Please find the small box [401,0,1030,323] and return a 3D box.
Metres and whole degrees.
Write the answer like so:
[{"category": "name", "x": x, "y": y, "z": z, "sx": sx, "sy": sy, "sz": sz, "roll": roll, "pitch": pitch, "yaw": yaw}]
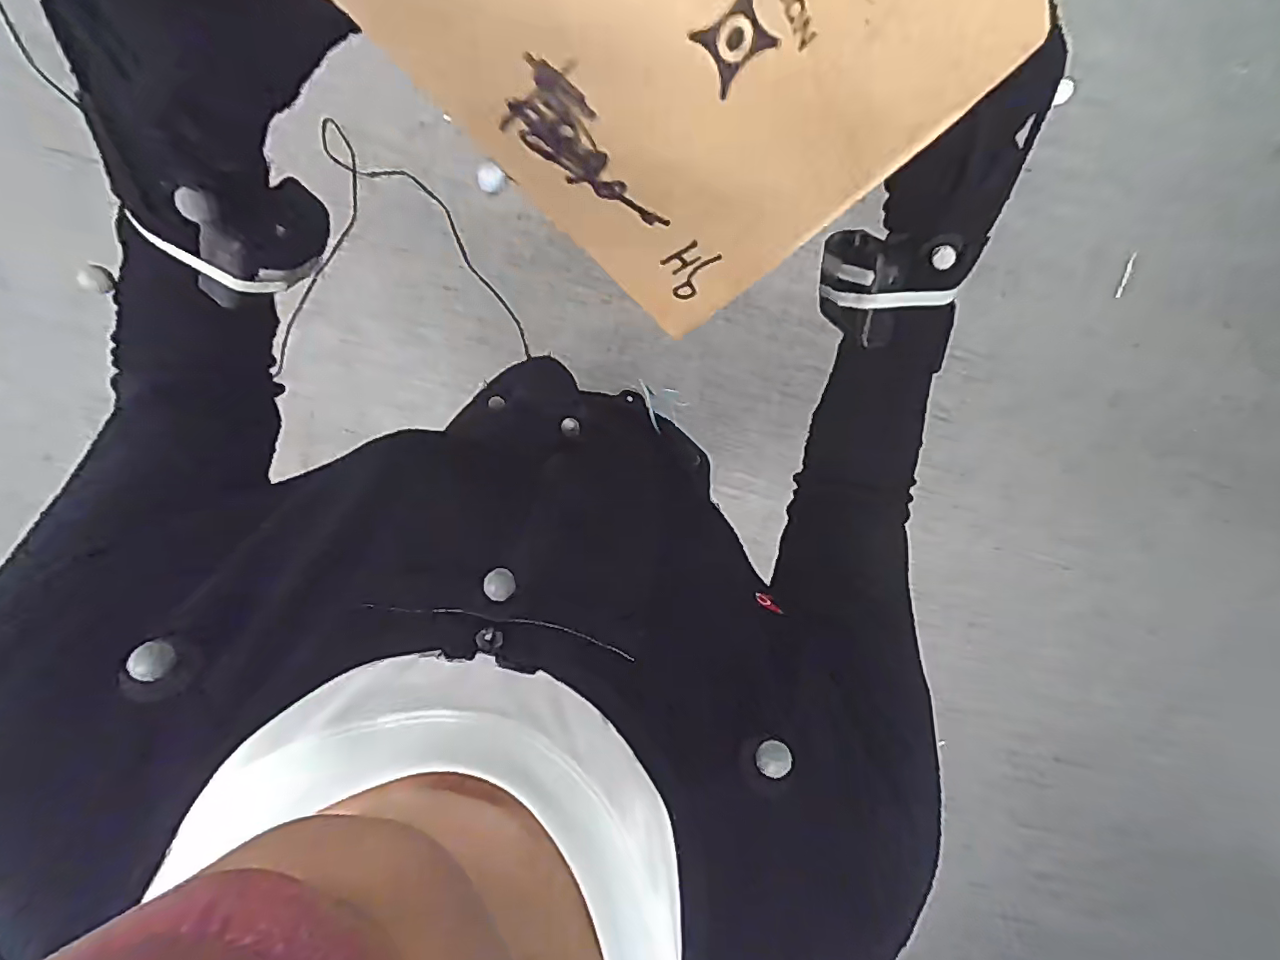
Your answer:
[{"category": "small box", "x": 0.016, "y": -0.211, "z": 0.221, "sx": 0.179, "sy": 0.168, "sz": 0.176, "roll": -36, "pitch": 54, "yaw": 19}]
